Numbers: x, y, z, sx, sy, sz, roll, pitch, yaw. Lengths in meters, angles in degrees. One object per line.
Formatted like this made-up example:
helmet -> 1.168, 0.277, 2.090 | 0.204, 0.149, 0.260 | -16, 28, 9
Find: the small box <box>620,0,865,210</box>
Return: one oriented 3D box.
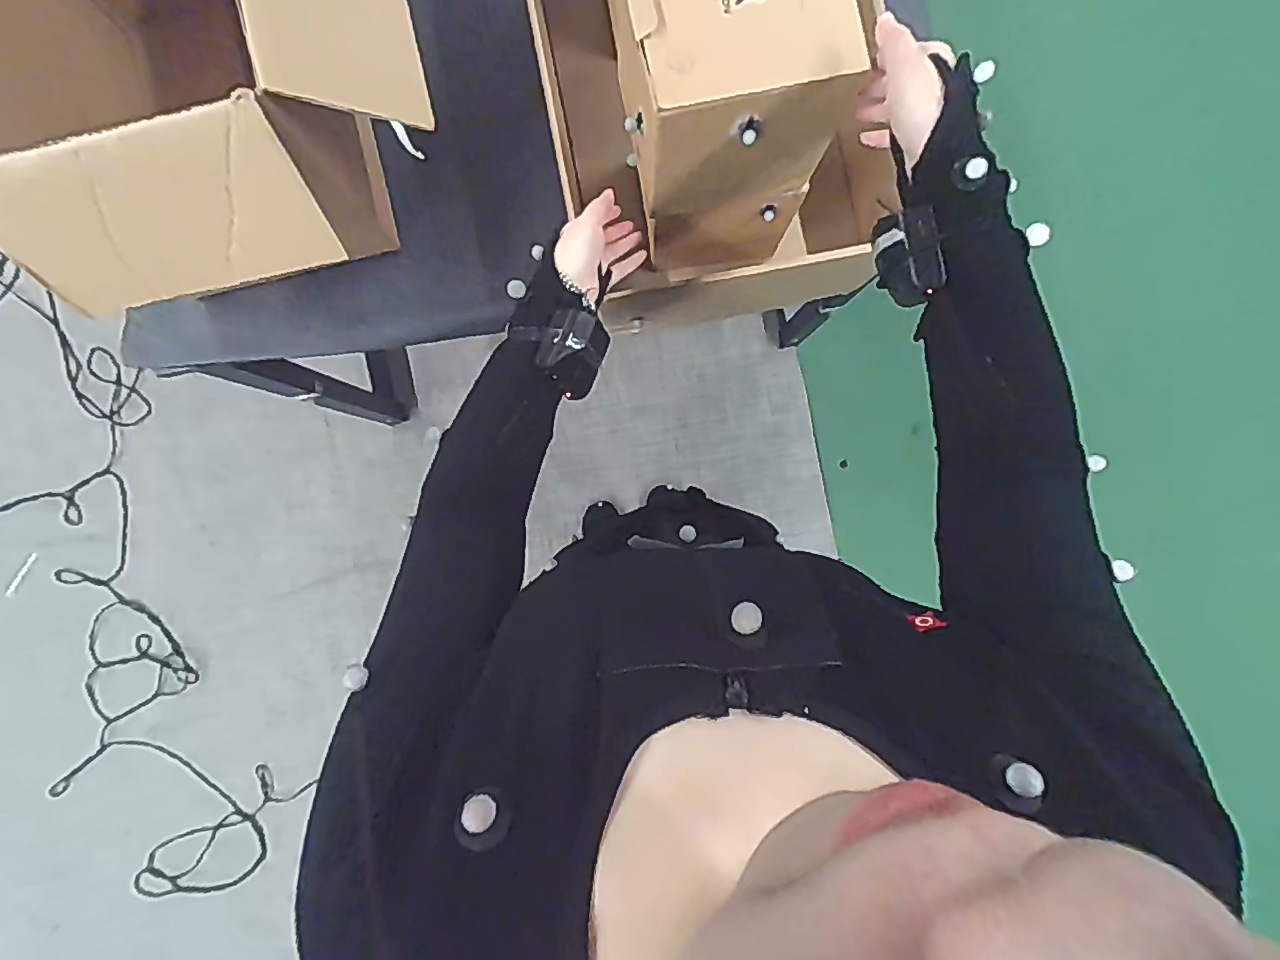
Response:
small box -> 0.078, -0.382, 0.509 | 0.179, 0.176, 0.168 | -12, 90, -2
